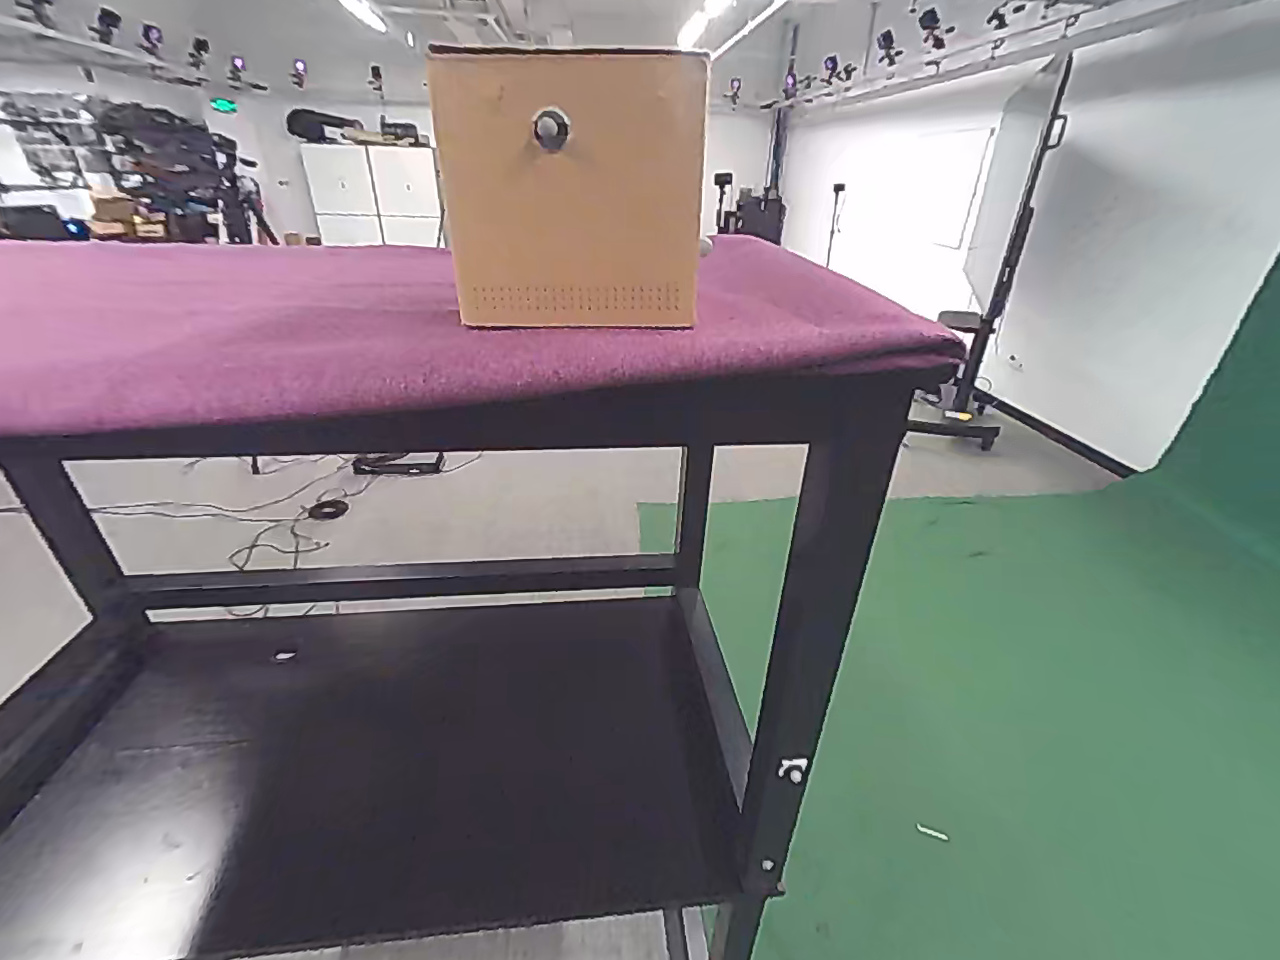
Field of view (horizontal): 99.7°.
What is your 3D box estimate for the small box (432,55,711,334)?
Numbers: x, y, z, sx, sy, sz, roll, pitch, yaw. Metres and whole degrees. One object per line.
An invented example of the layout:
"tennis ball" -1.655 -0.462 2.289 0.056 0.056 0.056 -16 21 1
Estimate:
"small box" -0.041 -0.217 0.436 0.179 0.176 0.168 1 28 0
